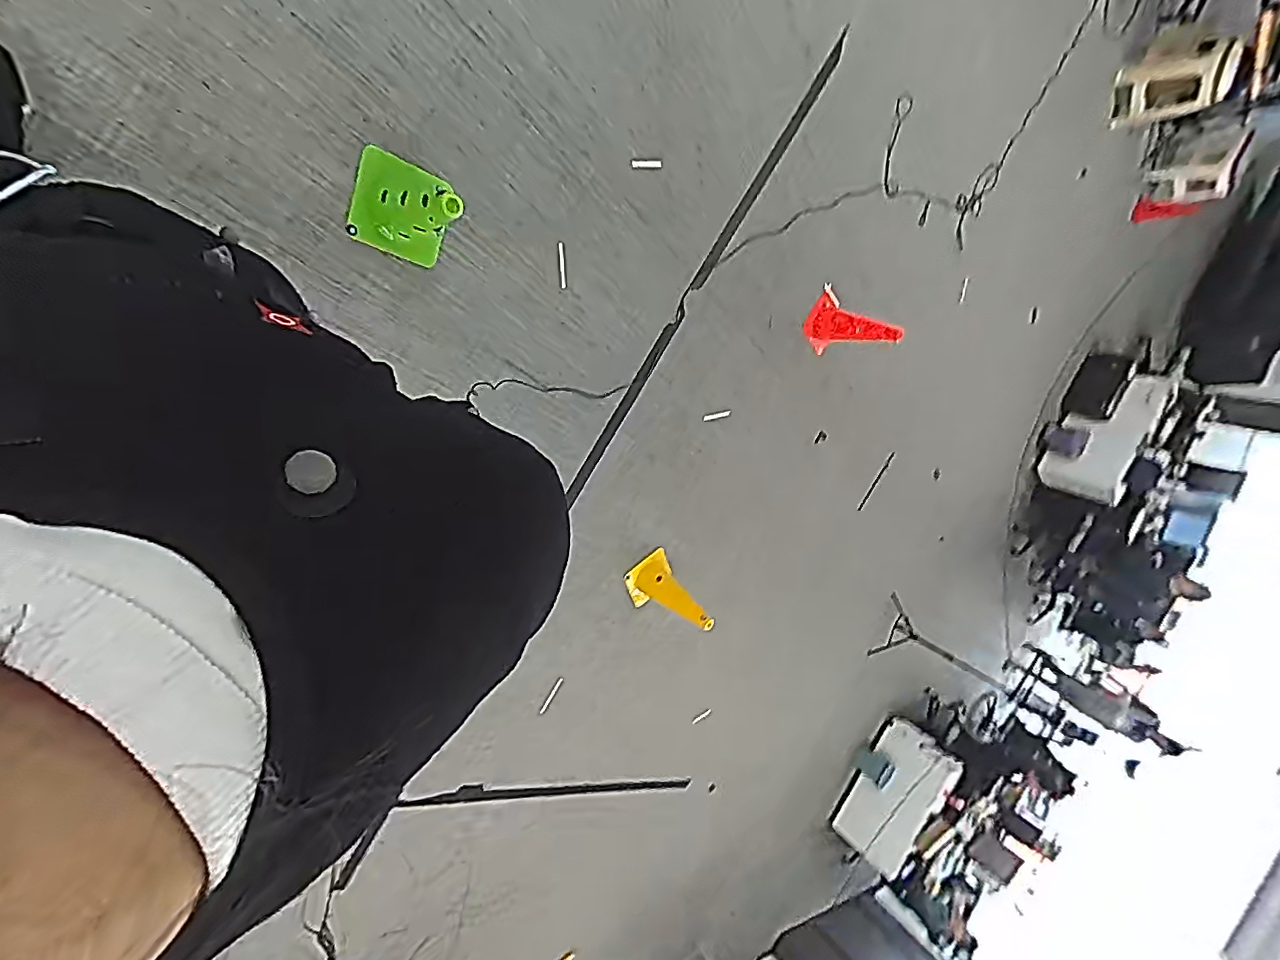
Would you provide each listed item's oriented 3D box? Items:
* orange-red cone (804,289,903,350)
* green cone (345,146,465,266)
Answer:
[{"bbox_3d":[0.874,-0.614,2.161,0.199,0.360,0.198,-54,133,-4],"label":"orange-red cone"},{"bbox_3d":[-0.440,-0.559,1.102,0.200,0.368,0.202,9,103,-42],"label":"green cone"}]
